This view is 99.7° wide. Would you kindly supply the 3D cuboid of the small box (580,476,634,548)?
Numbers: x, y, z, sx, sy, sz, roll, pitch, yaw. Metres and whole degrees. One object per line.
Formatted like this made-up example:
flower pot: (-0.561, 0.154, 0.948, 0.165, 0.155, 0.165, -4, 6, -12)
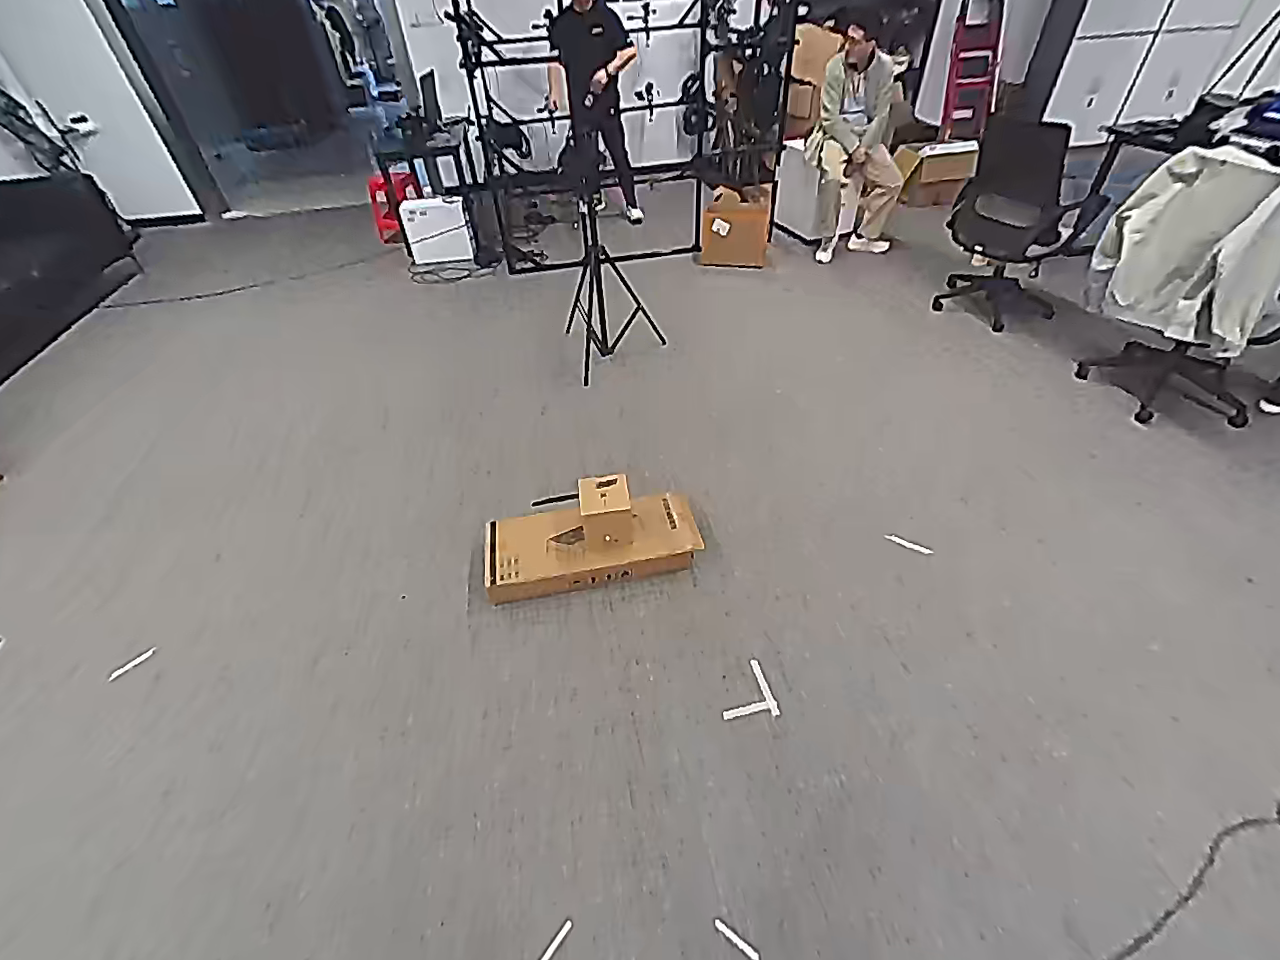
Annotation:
small box: (-0.115, 0.112, 1.867, 0.168, 0.176, 0.179, -8, 43, -4)
